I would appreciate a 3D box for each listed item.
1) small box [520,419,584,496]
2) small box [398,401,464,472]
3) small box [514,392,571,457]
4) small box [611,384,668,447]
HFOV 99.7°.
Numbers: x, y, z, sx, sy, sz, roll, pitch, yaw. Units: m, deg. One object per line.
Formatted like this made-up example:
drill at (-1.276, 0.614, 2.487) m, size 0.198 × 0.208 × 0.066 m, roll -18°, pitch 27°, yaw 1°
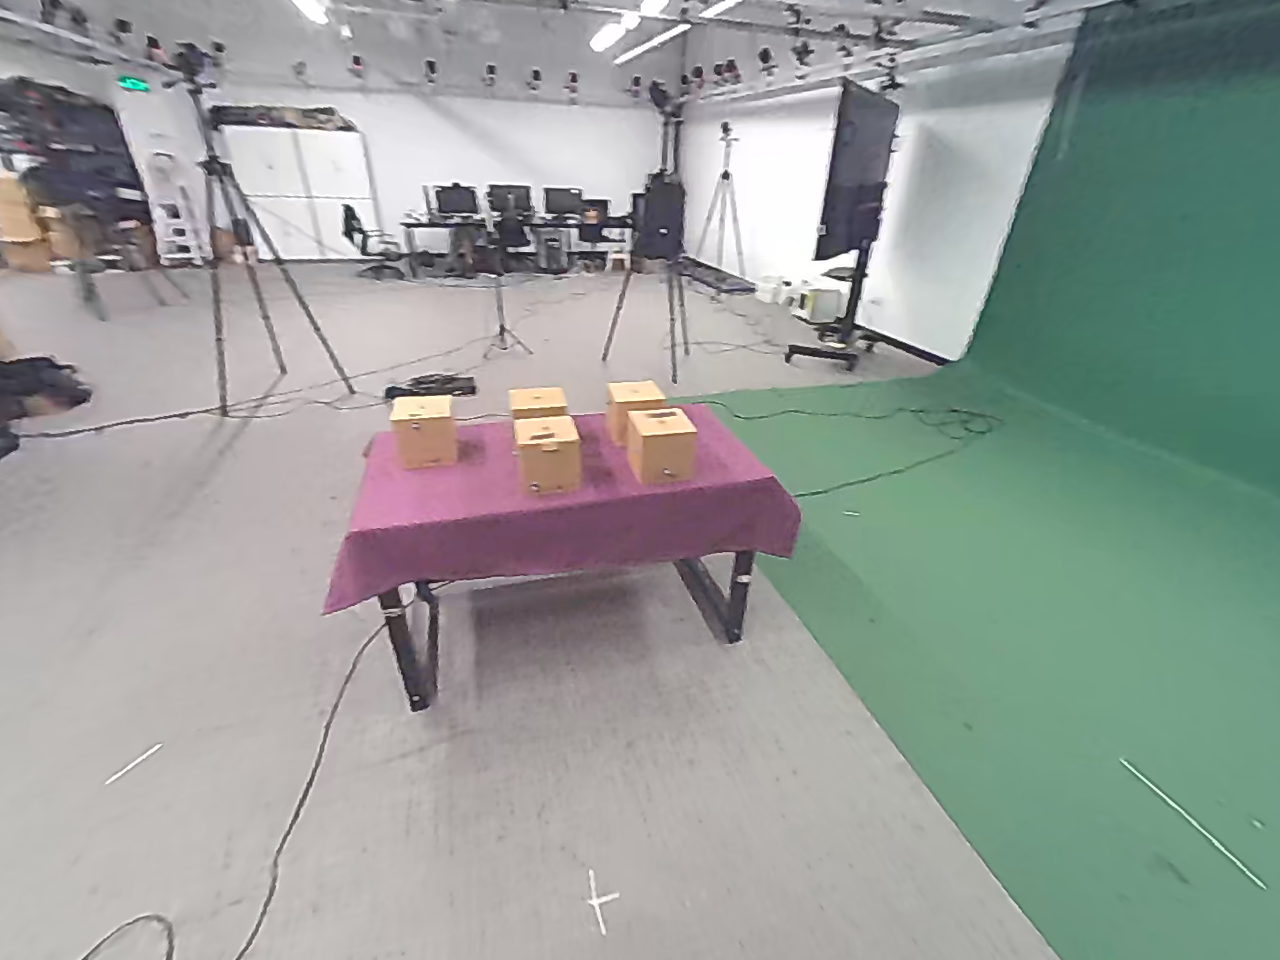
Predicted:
small box at (-0.258, -0.062, 1.584) m, size 0.168 × 0.176 × 0.179 m, roll -6°, pitch 30°, yaw -13°
small box at (-0.652, -0.139, 1.703) m, size 0.168 × 0.176 × 0.179 m, roll -6°, pitch 30°, yaw -14°
small box at (-0.321, -0.182, 1.794) m, size 0.179 × 0.176 × 0.168 m, roll -5°, pitch 31°, yaw -12°
small box at (-0.004, -0.219, 1.870) m, size 0.168 × 0.176 × 0.179 m, roll -6°, pitch 30°, yaw -11°
